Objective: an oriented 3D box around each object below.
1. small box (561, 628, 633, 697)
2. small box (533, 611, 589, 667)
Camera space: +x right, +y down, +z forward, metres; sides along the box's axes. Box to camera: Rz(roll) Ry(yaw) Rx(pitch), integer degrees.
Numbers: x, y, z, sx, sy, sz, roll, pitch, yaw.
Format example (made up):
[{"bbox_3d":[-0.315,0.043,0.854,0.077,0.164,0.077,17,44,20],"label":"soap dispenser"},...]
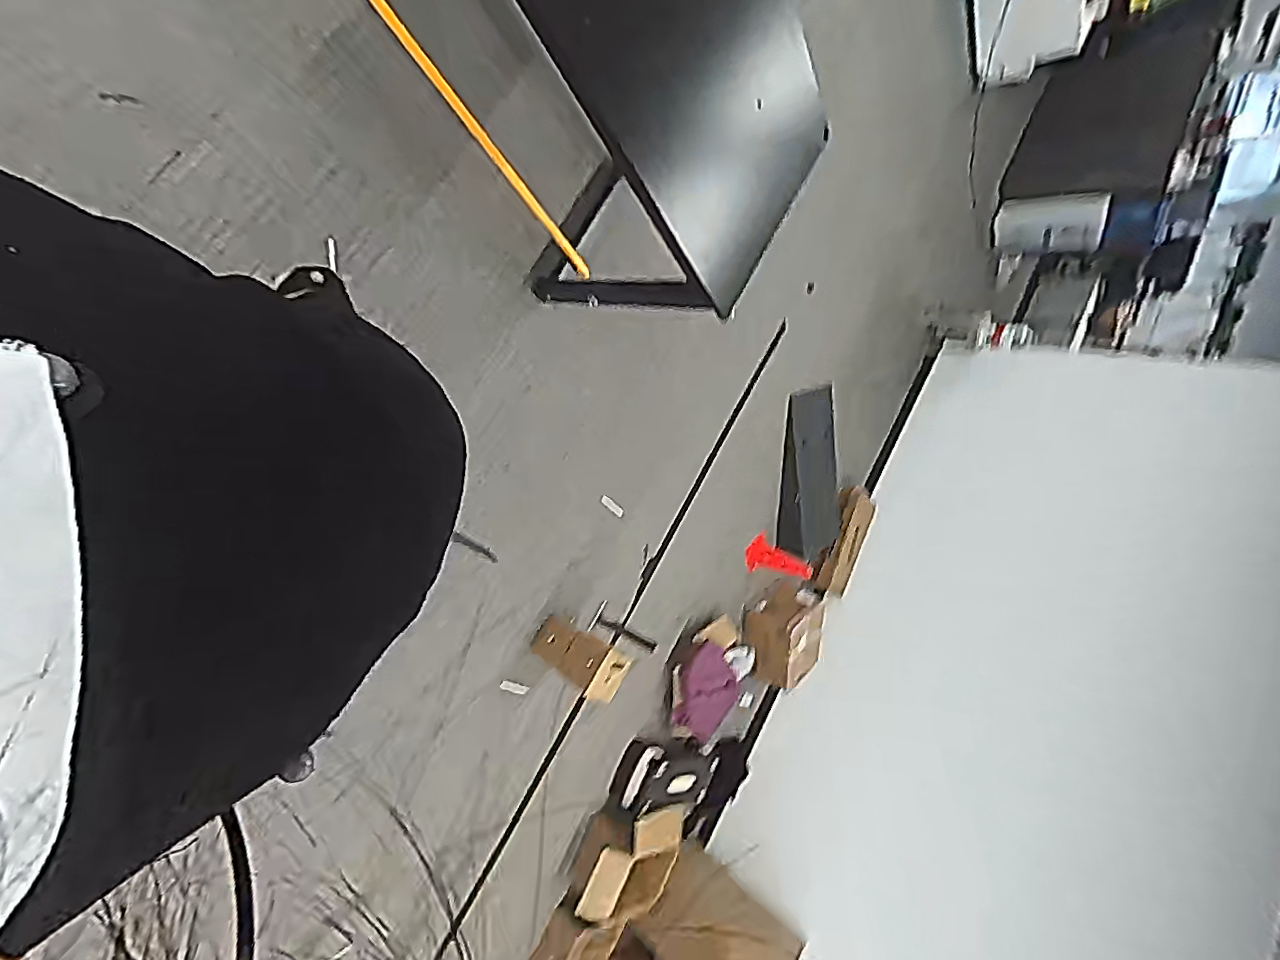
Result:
[{"bbox_3d":[-0.165,0.676,2.015,0.168,0.176,0.179,42,74,-47],"label":"small box"},{"bbox_3d":[-0.284,0.637,2.123,0.168,0.176,0.179,-59,137,-12],"label":"small box"}]
